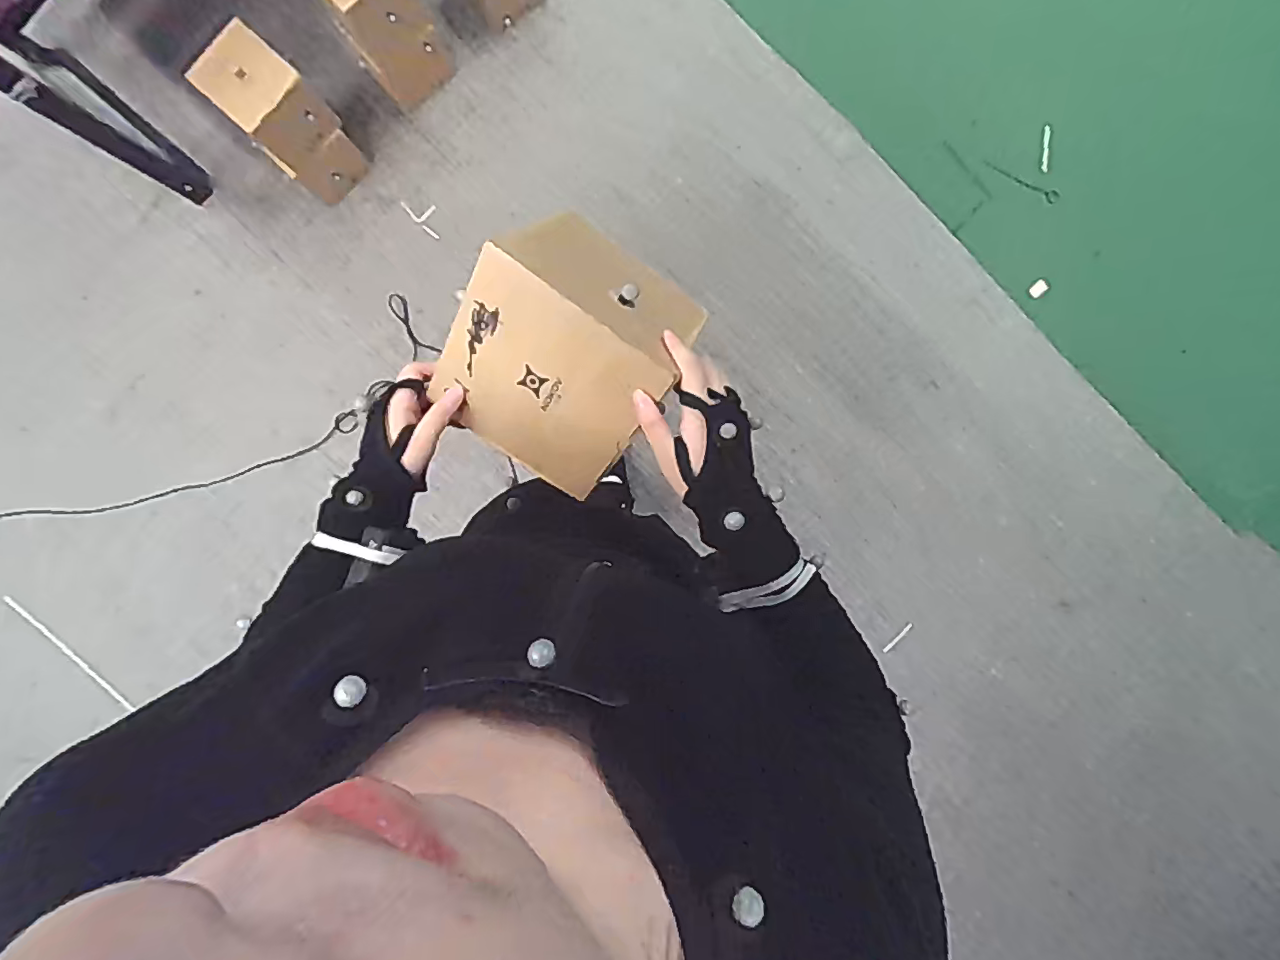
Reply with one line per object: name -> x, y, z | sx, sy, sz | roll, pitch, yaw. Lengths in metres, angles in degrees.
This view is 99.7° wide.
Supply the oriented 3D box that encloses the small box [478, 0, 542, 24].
small box -> -0.353, -1.304, 1.353 | 0.168, 0.176, 0.179 | -36, 92, 0
